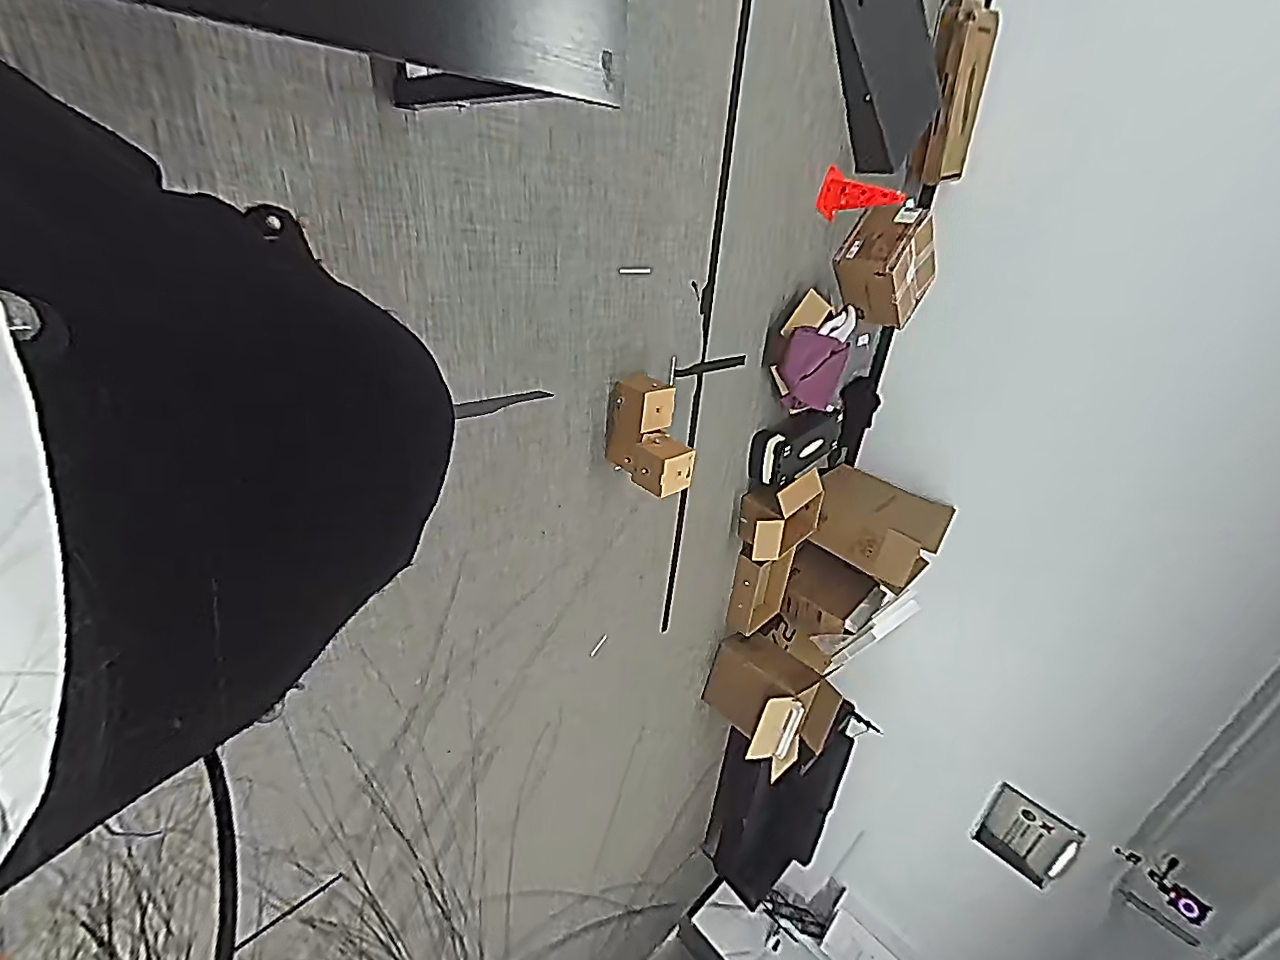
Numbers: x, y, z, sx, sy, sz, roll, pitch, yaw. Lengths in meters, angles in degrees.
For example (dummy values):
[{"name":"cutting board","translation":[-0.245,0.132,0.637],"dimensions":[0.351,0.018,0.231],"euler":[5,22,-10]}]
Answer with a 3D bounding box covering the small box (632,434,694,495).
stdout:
[{"name":"small box","translation":[0.085,-0.065,2.125],"dimensions":[0.179,0.176,0.168],"euler":[-19,126,-39]}]
